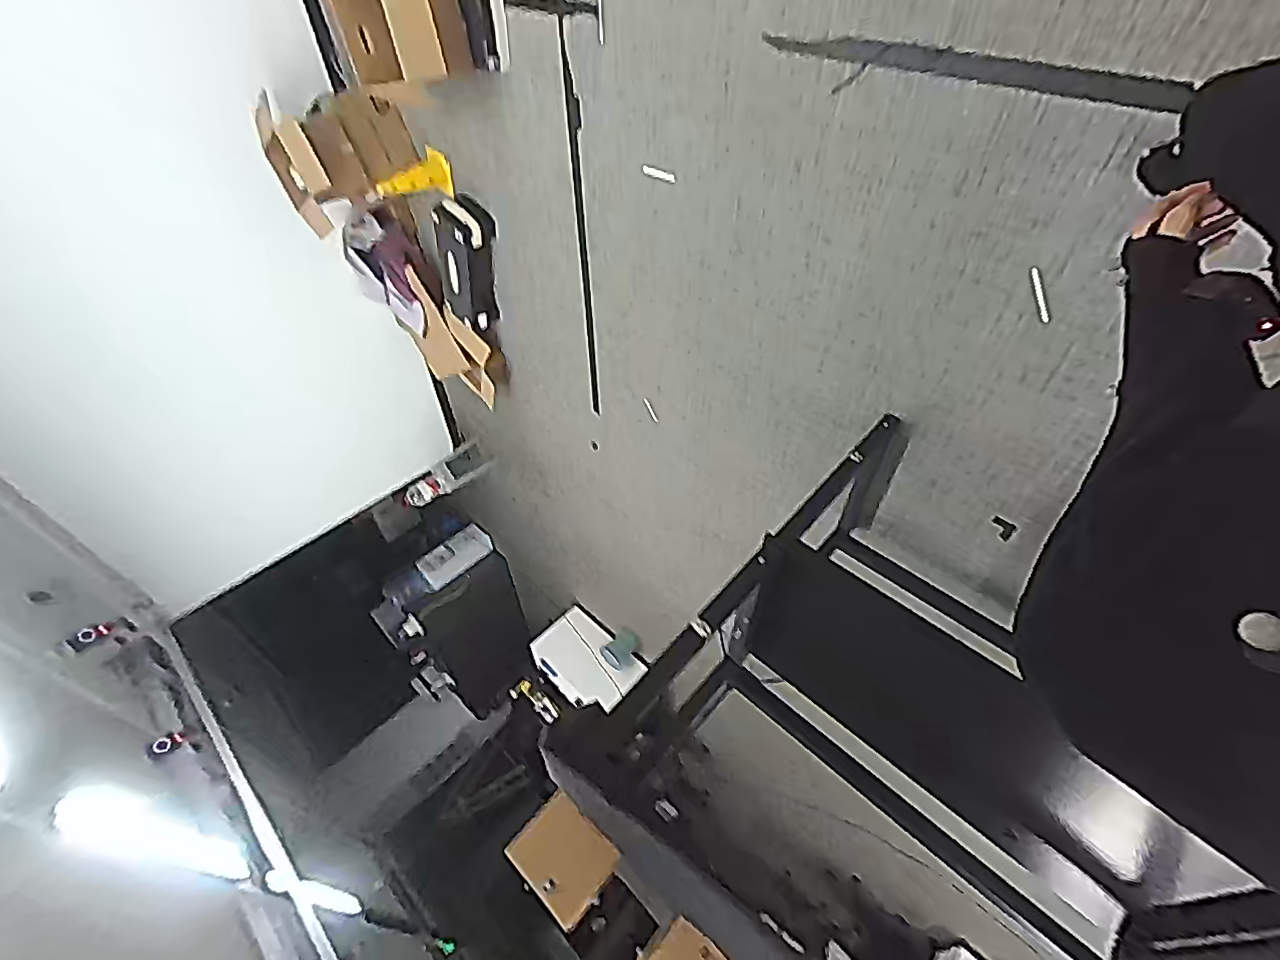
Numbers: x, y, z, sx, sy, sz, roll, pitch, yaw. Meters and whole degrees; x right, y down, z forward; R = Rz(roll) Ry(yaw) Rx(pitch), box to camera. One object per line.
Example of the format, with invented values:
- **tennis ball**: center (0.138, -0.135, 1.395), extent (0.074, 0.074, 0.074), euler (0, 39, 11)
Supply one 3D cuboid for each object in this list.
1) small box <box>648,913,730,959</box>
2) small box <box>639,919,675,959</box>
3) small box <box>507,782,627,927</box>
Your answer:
- **small box**: center (0.085, 0.900, 0.942), extent (0.168, 0.176, 0.179), euler (35, 147, 26)
- **small box**: center (0.077, 1.064, 1.132), extent (0.179, 0.176, 0.168), euler (36, 147, 27)
- **small box**: center (-0.140, 0.754, 1.096), extent (0.168, 0.176, 0.179), euler (36, 147, 25)
